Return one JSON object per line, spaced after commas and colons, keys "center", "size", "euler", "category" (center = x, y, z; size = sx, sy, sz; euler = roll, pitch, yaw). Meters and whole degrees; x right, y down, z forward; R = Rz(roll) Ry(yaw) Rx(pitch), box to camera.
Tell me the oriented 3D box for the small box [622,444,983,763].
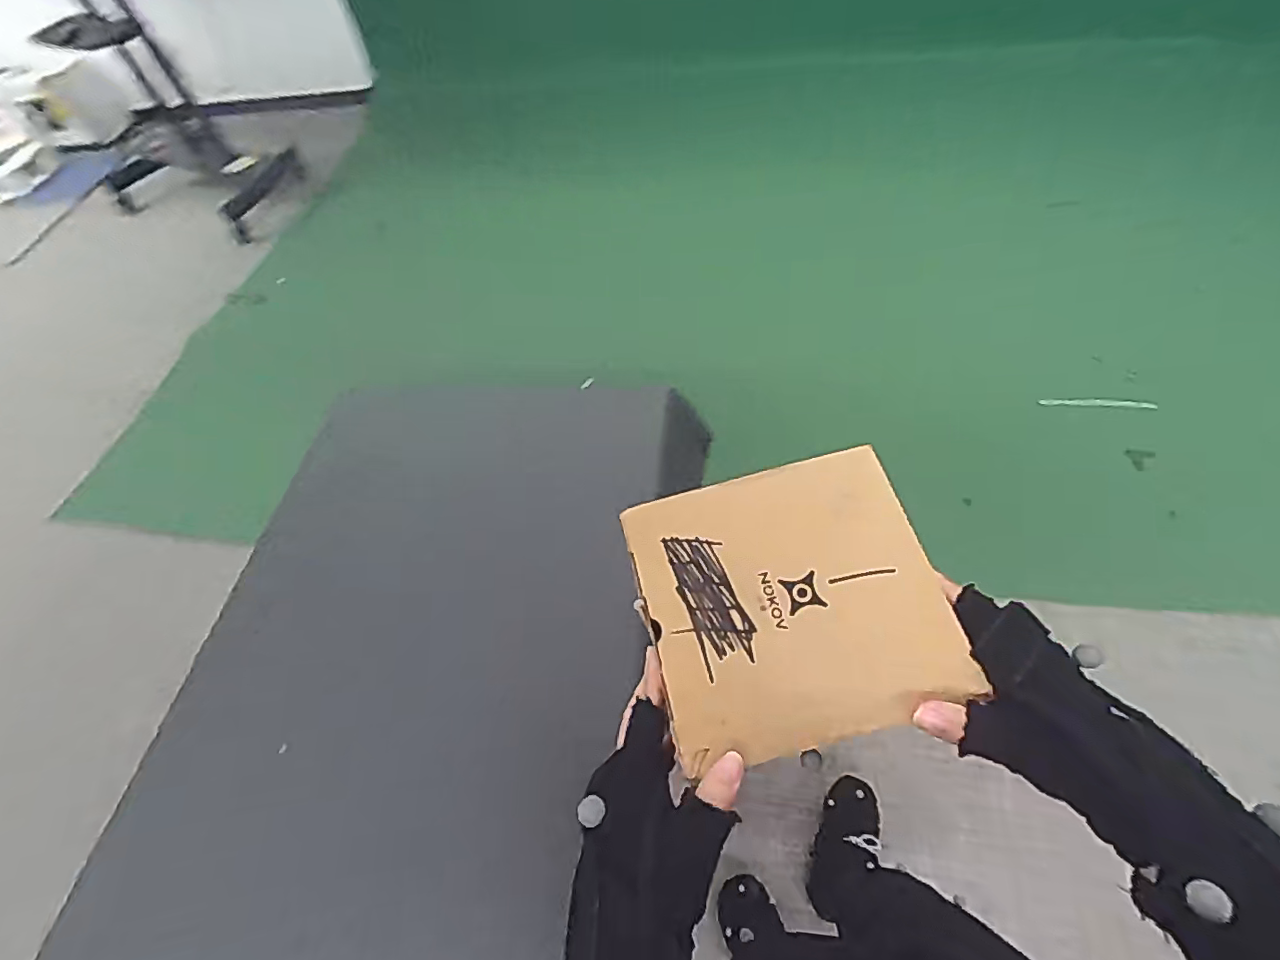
{"center": [0.097, 0.100, 0.398], "size": [0.179, 0.176, 0.168], "euler": [-14, 64, 1], "category": "small box"}
